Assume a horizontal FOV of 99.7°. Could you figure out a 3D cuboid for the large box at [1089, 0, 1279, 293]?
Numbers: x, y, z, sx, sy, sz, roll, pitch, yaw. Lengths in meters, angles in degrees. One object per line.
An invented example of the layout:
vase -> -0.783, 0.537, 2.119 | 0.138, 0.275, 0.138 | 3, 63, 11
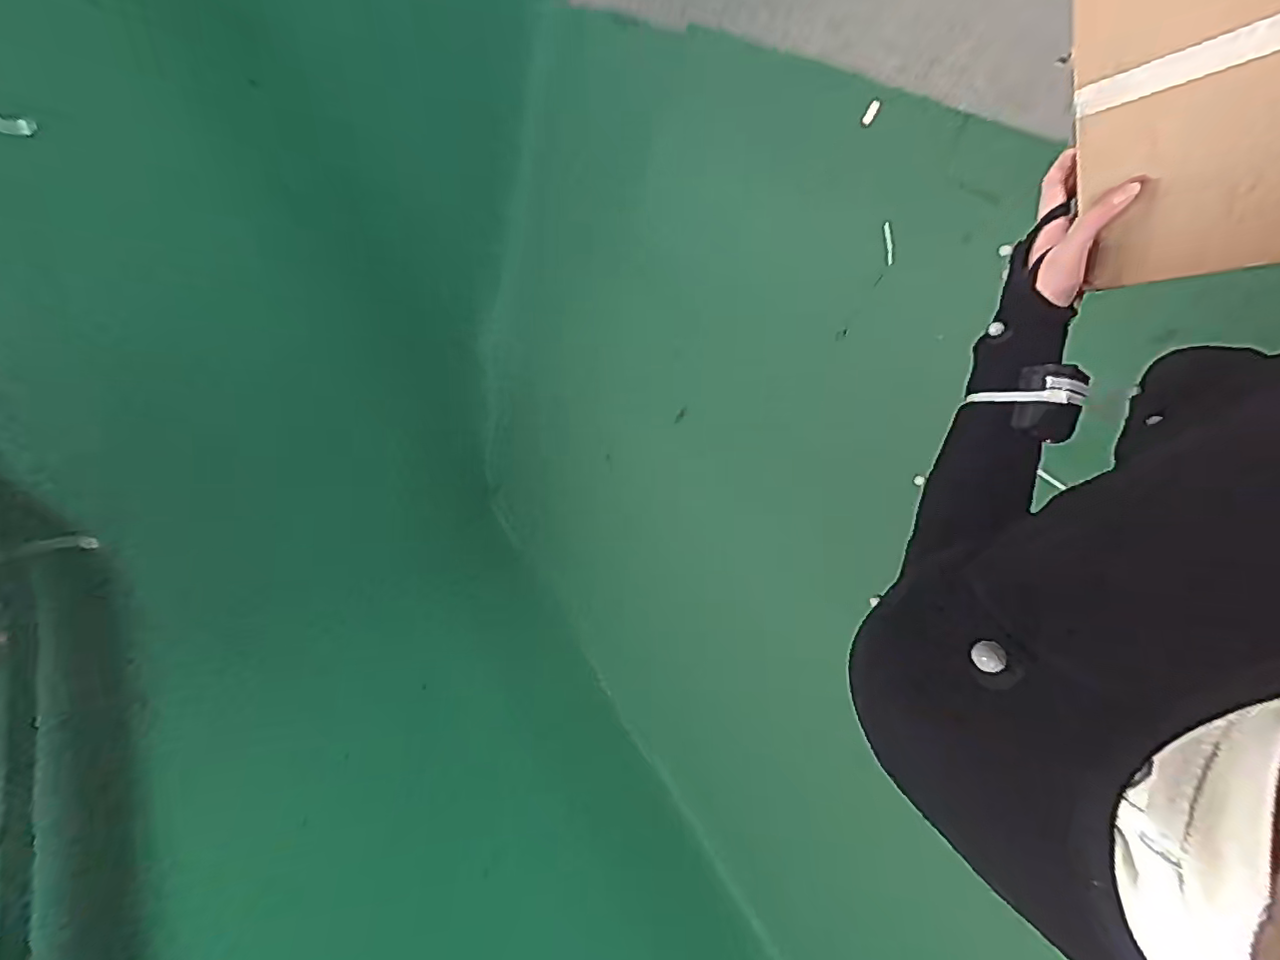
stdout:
large box -> 0.609, -0.362, 0.388 | 0.408, 0.320, 0.320 | 5, 120, 48
